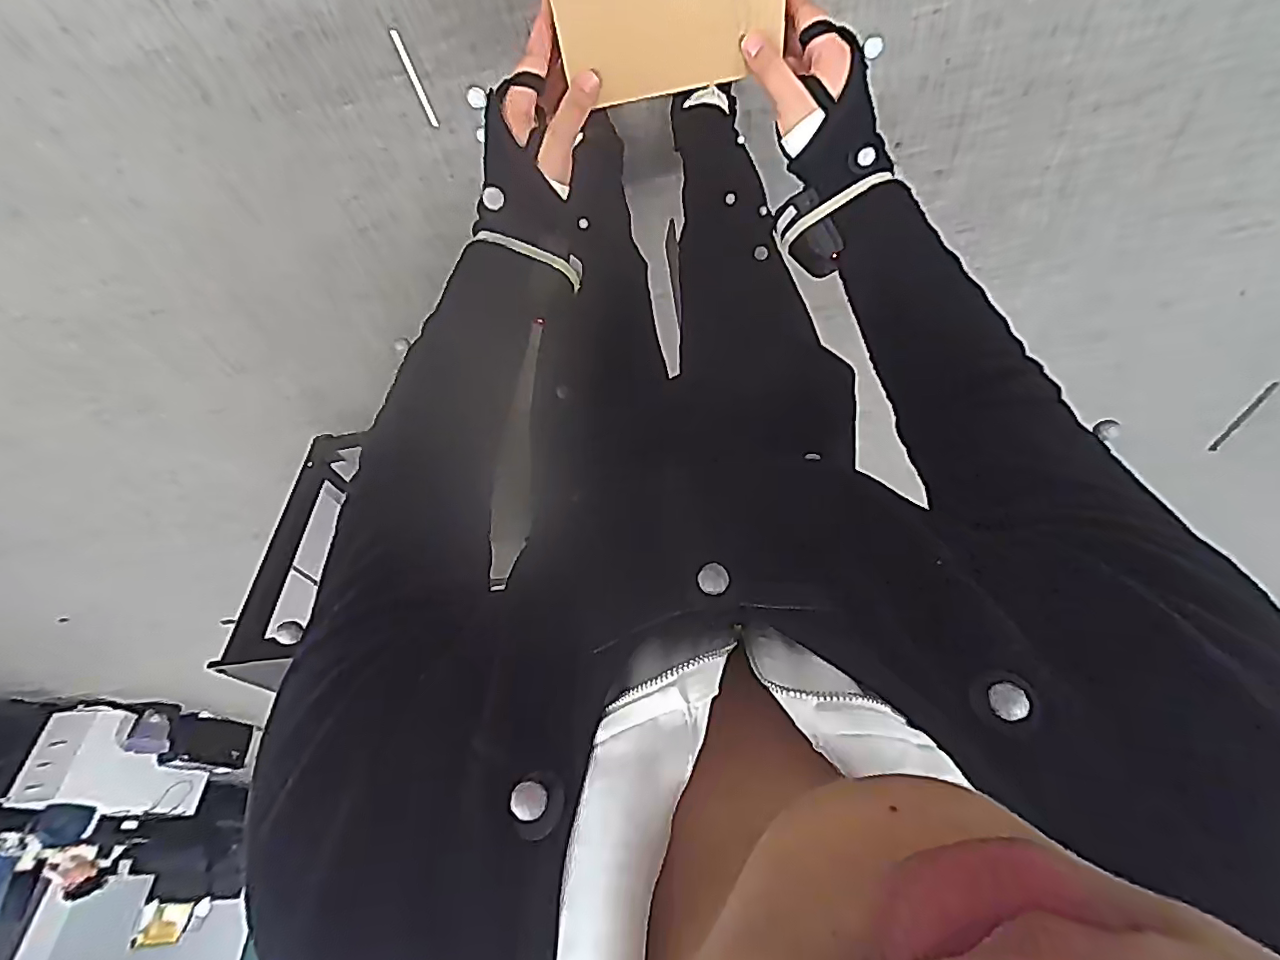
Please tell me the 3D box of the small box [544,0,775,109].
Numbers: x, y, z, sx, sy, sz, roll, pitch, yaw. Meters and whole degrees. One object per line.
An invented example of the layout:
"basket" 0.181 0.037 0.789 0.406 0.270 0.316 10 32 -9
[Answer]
"small box" 0.005 -0.420 0.410 0.168 0.176 0.179 -9 138 4
